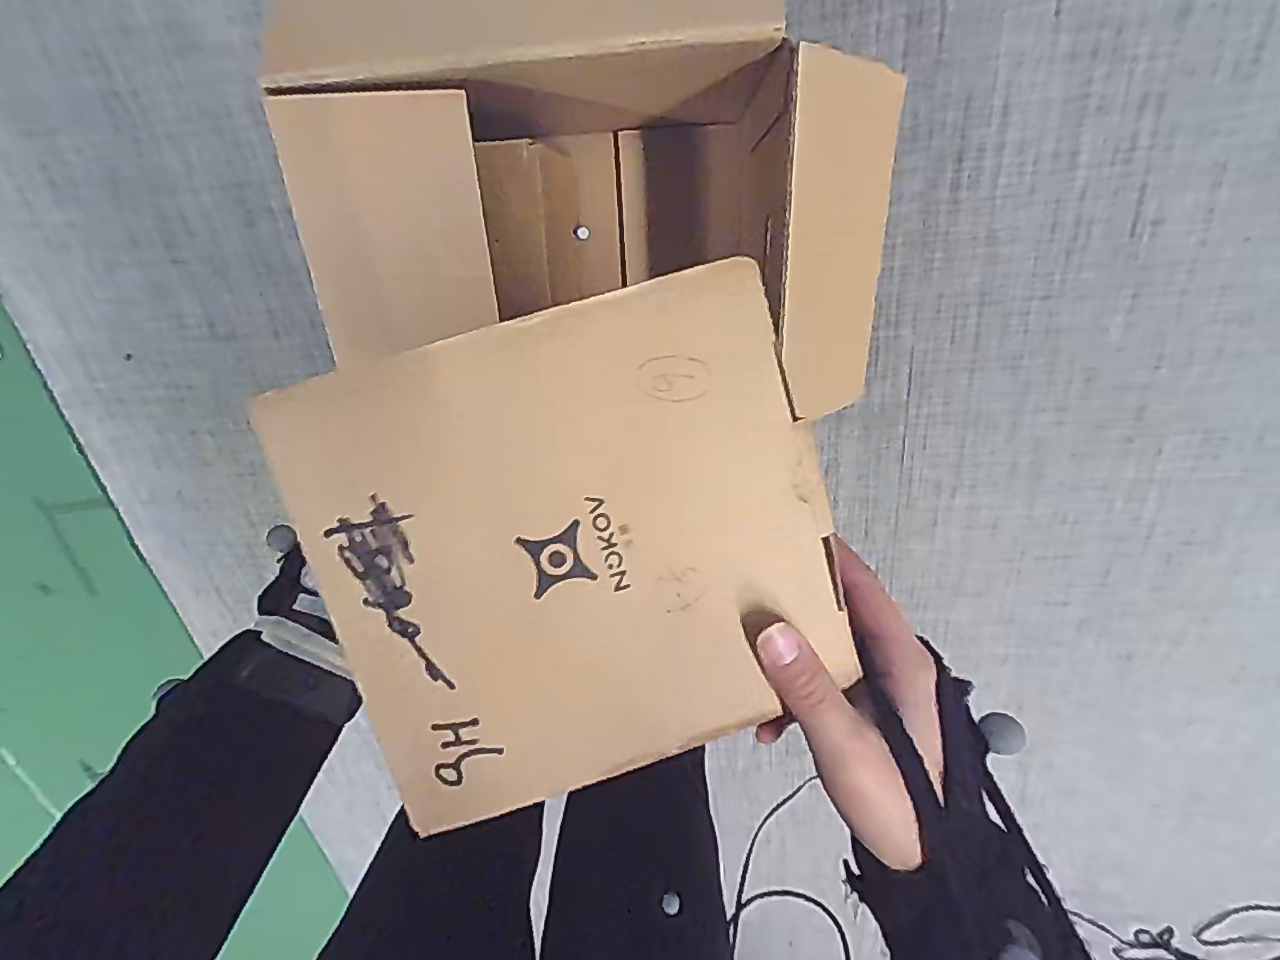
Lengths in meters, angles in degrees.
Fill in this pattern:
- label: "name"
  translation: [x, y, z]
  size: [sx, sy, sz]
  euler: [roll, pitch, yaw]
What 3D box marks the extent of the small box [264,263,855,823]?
- label: "small box"
  translation: [-0.029, 0.014, 0.270]
  size: [0.179, 0.176, 0.168]
  euler: [-17, 98, -5]
